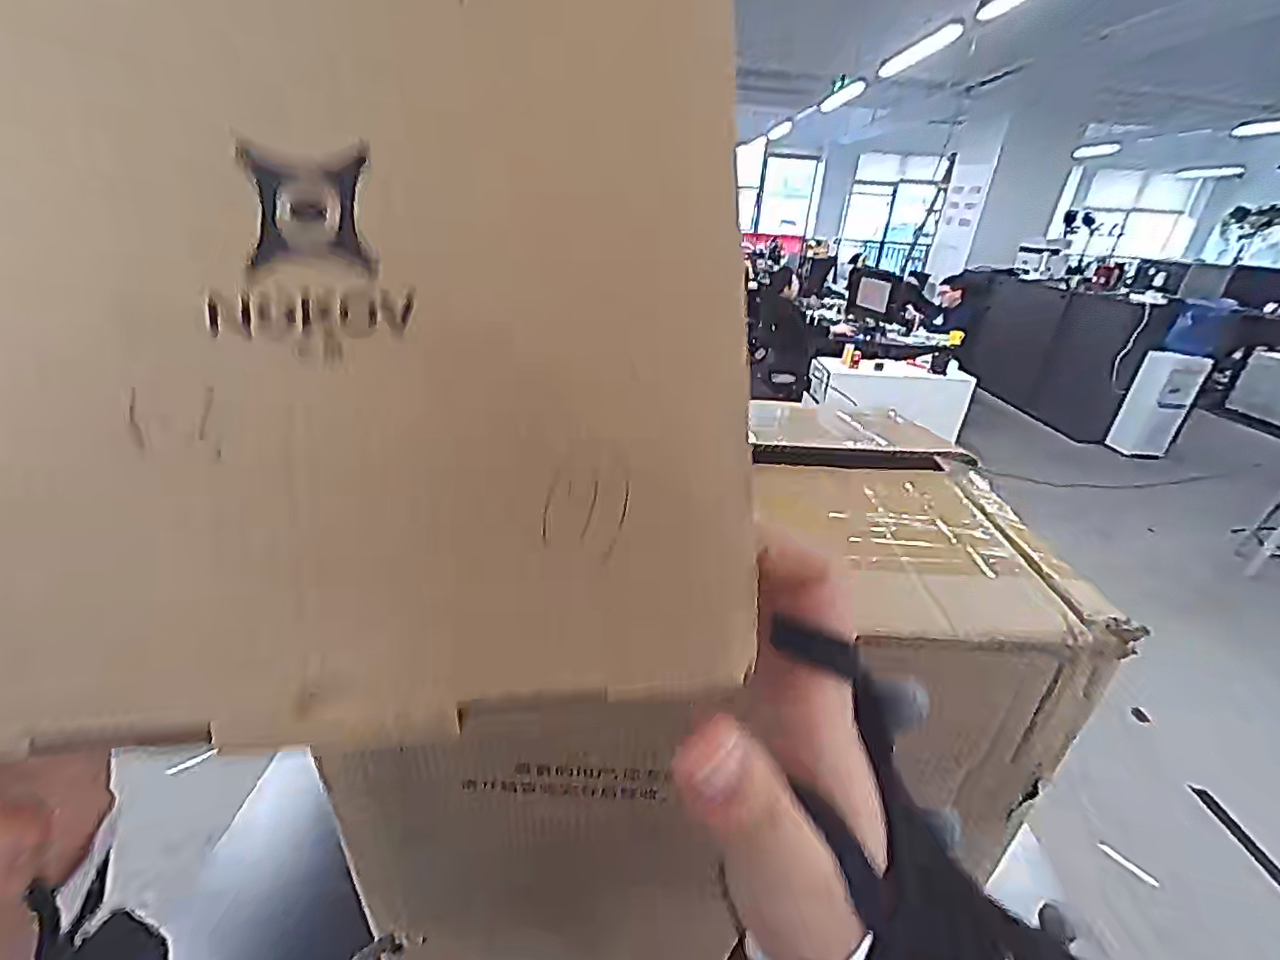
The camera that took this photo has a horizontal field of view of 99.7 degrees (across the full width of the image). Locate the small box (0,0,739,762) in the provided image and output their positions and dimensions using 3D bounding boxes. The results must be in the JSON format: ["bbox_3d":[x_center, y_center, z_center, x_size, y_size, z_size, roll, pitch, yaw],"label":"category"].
[{"bbox_3d":[-0.070,-0.039,0.184,0.168,0.179,0.176,-3,3,-7],"label":"small box"}]
